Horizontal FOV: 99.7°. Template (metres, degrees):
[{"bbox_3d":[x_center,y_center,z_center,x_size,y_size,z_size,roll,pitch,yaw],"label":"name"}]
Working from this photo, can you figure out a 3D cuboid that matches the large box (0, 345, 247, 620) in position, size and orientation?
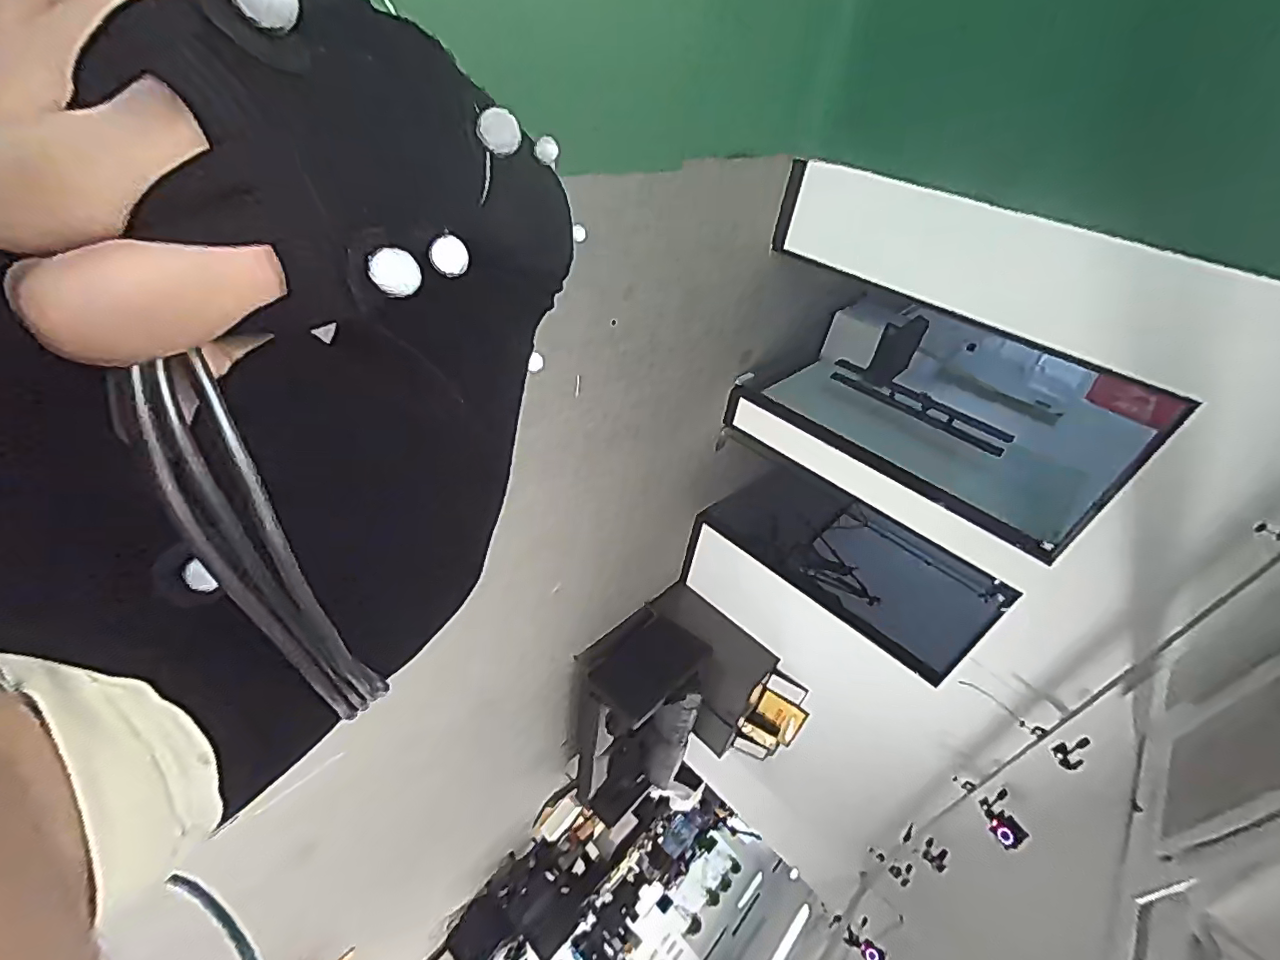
[{"bbox_3d":[-1.077,-0.010,1.101,0.320,0.320,0.408,-25,141,-43],"label":"large box"}]
